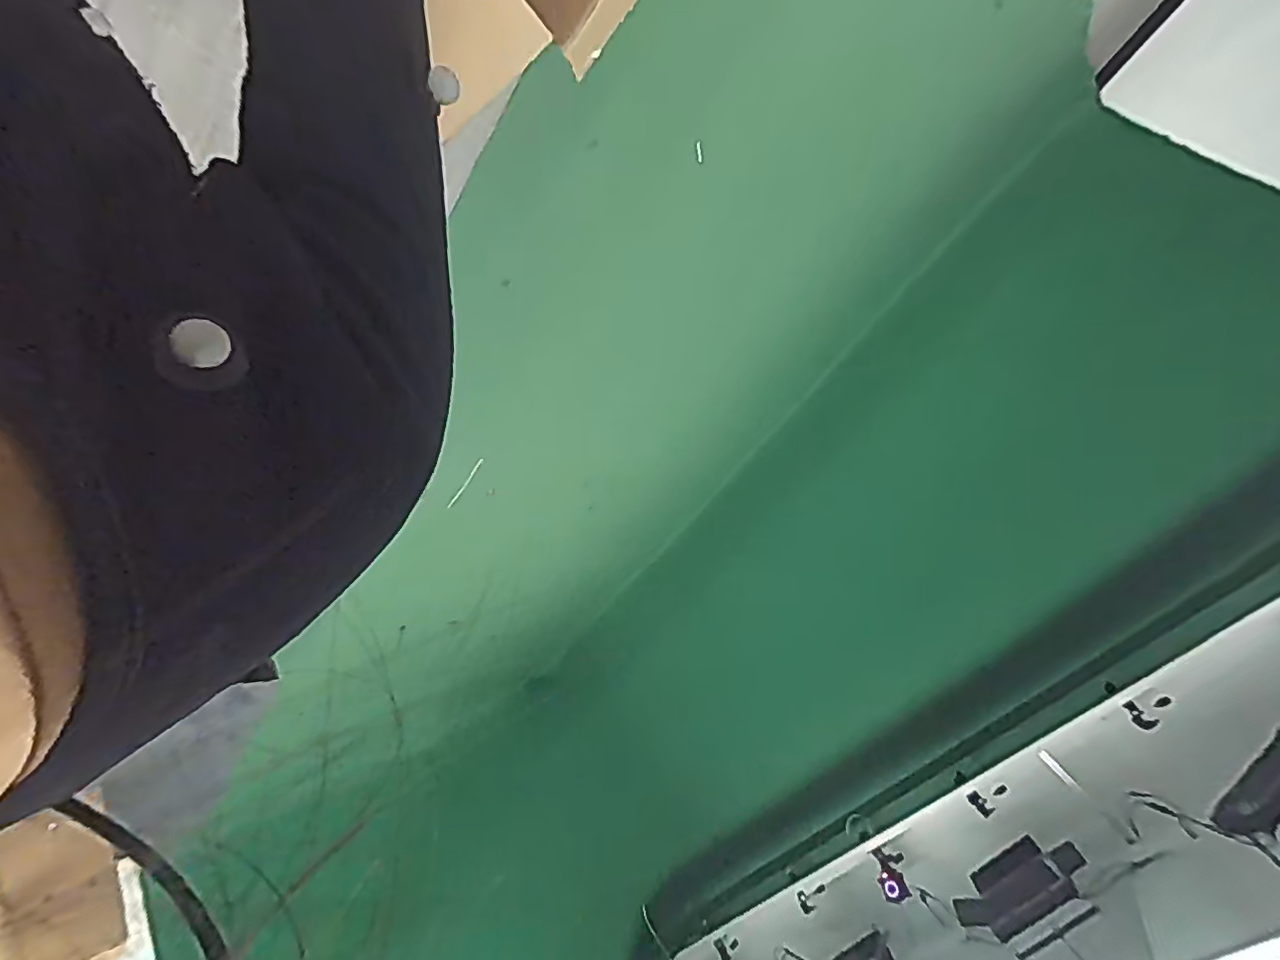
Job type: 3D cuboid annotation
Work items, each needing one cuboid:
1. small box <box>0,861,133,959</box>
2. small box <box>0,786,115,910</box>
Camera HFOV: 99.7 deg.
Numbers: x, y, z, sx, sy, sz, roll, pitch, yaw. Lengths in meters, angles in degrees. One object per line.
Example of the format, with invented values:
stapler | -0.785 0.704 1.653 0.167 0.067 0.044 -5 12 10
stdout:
small box | -1.164 0.911 1.083 0.179 0.176 0.168 -47 154 21
small box | -1.258 0.792 1.146 0.179 0.176 0.168 -49 155 22
